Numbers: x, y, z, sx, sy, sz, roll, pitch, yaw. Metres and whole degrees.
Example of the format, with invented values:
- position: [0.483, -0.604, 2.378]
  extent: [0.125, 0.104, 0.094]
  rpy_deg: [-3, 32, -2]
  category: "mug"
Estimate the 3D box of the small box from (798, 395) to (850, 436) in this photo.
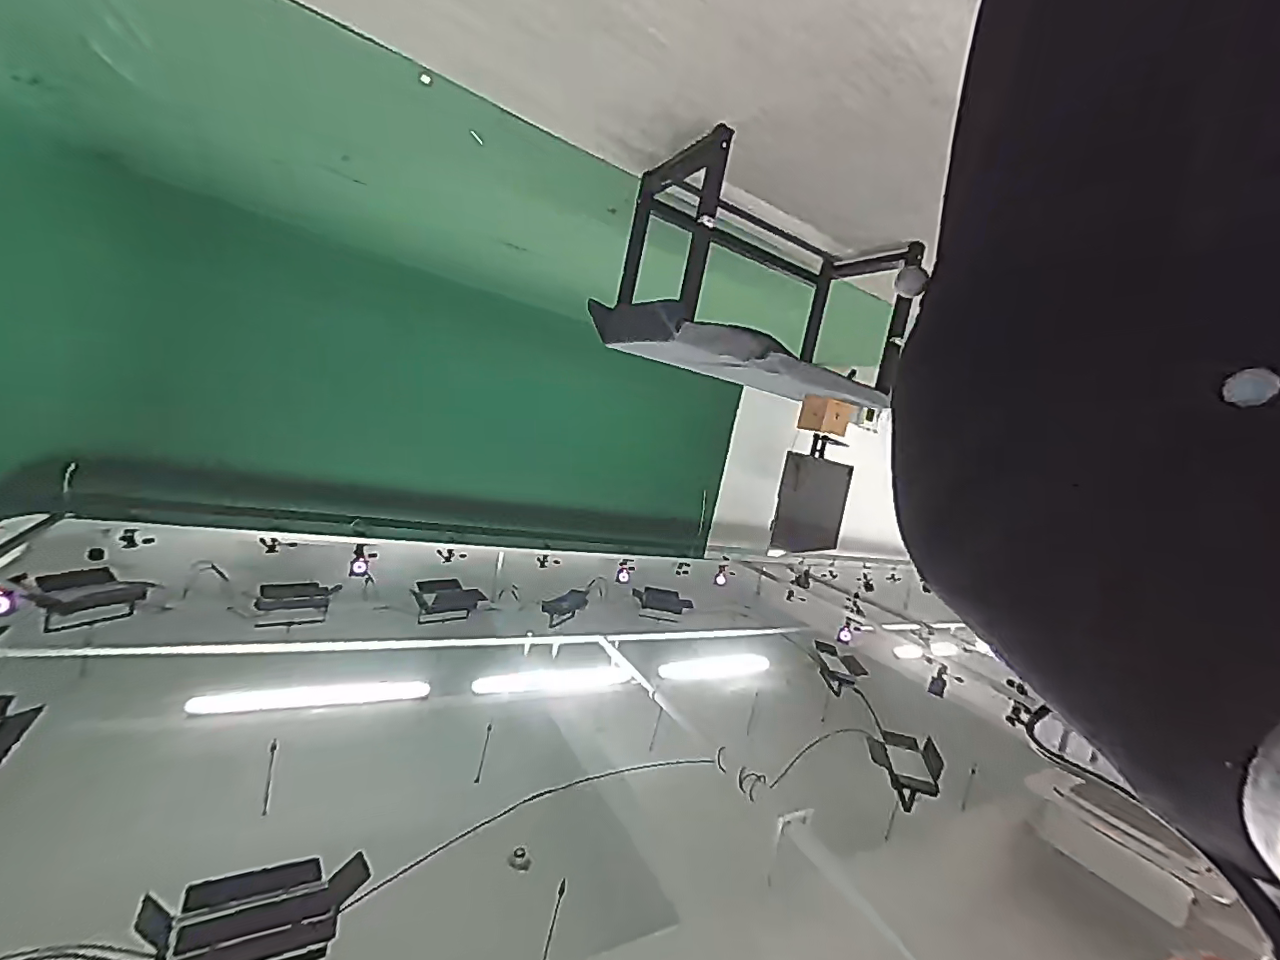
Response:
- position: [0.920, -0.323, 2.688]
  extent: [0.168, 0.176, 0.179]
  rpy_deg: [10, -174, -26]
  category: "small box"
